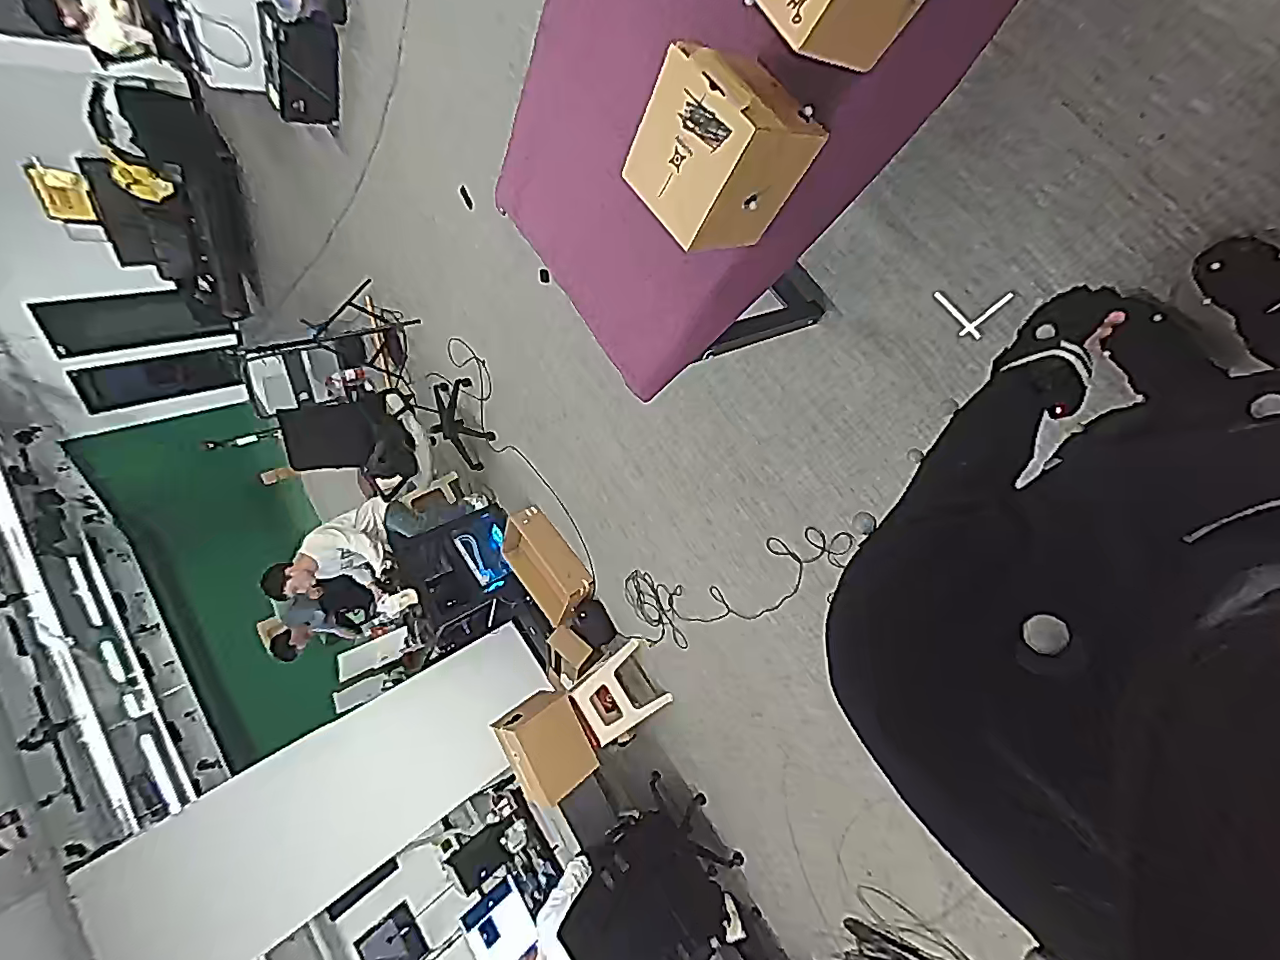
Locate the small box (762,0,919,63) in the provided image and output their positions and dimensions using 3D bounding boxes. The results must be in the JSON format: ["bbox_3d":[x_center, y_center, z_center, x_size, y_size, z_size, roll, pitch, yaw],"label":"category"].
[{"bbox_3d":[0.218,-0.578,0.552,0.168,0.176,0.179,58,141,9],"label":"small box"}]

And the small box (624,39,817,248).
[{"bbox_3d":[0.114,-0.451,0.742,0.168,0.176,0.179,55,143,14],"label":"small box"}]
